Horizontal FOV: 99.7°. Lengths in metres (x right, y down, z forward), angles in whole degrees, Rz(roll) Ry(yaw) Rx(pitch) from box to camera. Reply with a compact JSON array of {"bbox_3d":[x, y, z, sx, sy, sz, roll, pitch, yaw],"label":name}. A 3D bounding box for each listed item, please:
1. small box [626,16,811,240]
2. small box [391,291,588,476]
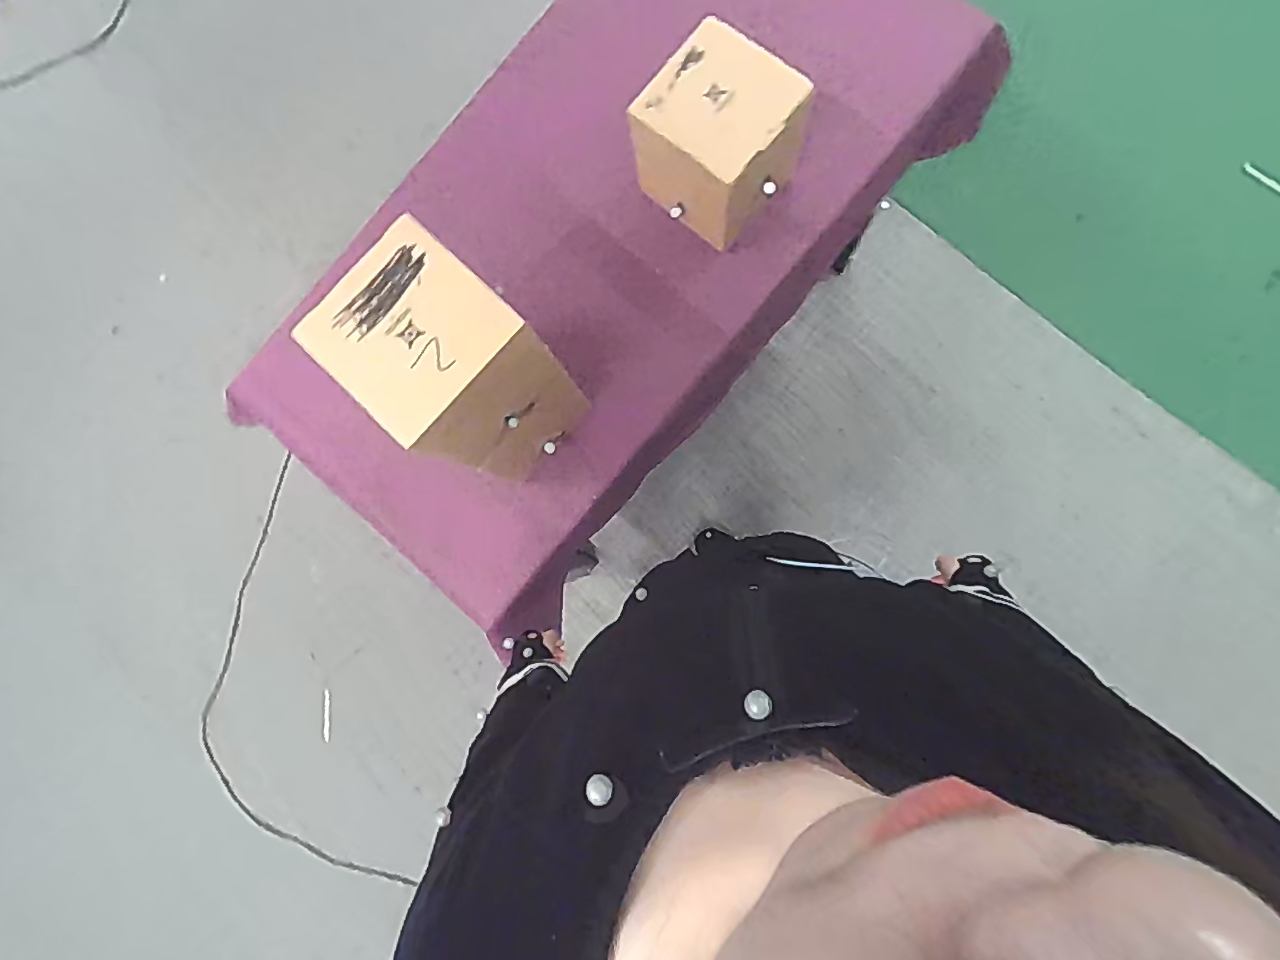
[{"bbox_3d":[0.106,-0.474,0.762,0.179,0.176,0.168,41,90,8],"label":"small box"},{"bbox_3d":[-0.198,-0.120,0.761,0.179,0.176,0.168,43,90,7],"label":"small box"}]
